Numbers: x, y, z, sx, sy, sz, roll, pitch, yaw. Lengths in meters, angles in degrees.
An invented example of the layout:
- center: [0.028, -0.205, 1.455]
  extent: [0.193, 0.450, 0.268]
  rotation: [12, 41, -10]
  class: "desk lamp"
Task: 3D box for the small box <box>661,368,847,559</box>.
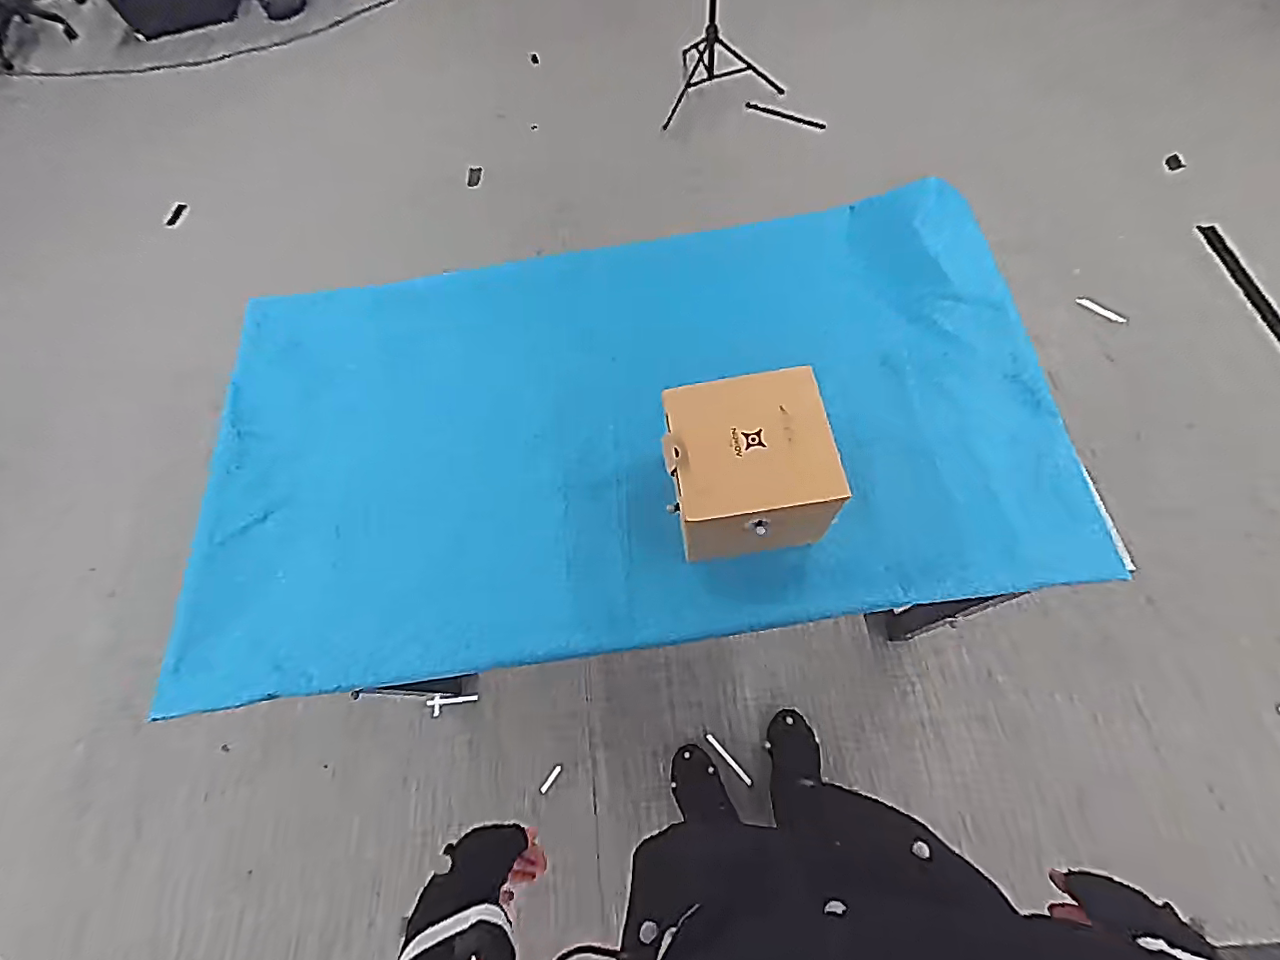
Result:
- center: [0.129, -0.009, 0.661]
  extent: [0.179, 0.176, 0.168]
  rotation: [-9, 67, 4]
  class: "small box"
